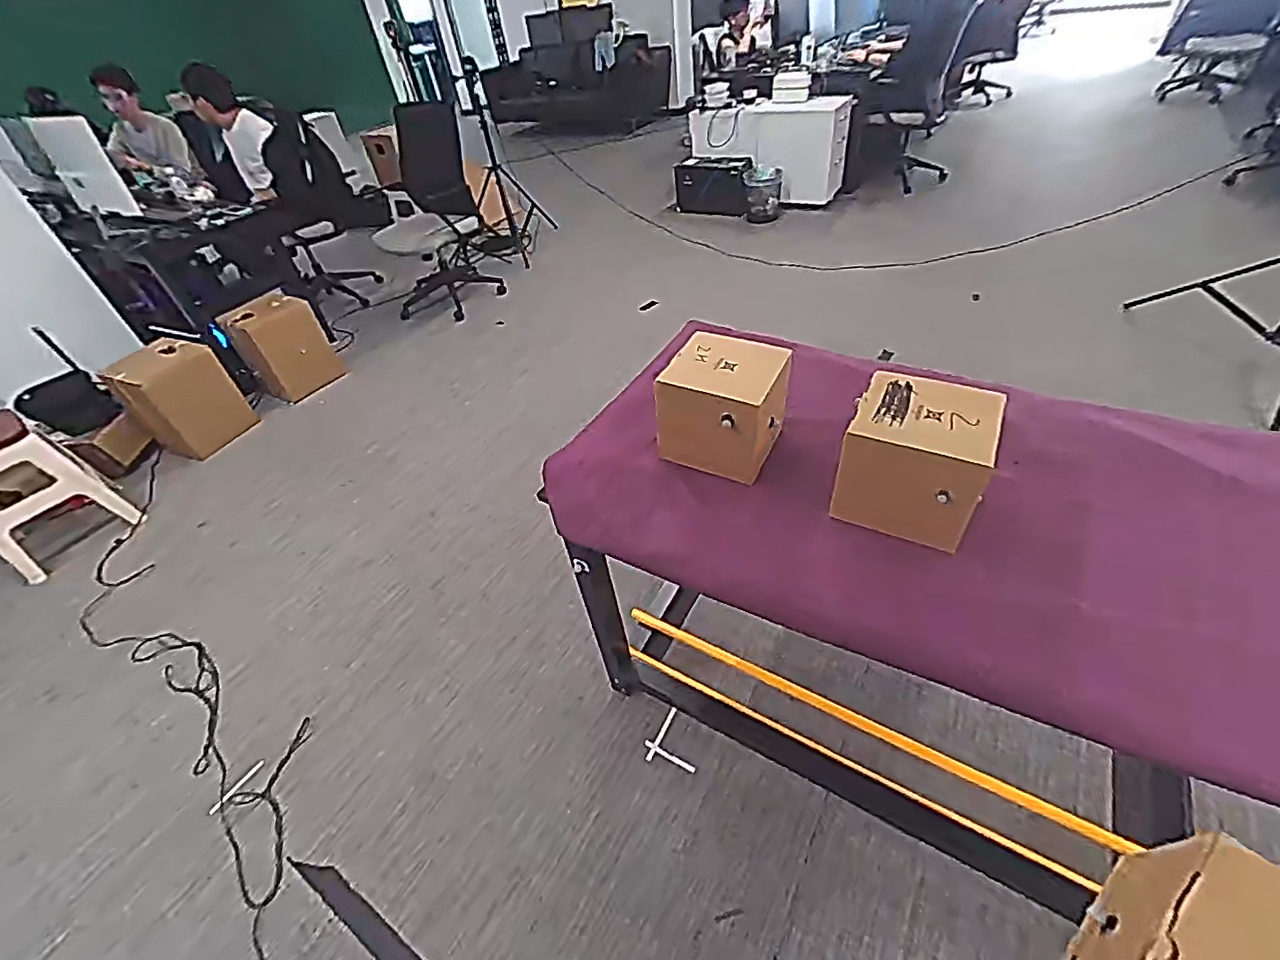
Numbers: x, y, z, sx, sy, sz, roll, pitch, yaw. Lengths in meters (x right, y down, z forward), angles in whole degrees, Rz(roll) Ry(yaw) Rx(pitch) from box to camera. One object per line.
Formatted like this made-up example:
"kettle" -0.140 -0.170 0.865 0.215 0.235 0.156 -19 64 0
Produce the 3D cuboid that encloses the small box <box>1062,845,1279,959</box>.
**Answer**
"small box" 0.388 0.369 0.330 0.168 0.176 0.179 -41 49 -15

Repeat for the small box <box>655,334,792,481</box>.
"small box" 0.142 -0.122 0.928 0.179 0.176 0.168 18 48 22
